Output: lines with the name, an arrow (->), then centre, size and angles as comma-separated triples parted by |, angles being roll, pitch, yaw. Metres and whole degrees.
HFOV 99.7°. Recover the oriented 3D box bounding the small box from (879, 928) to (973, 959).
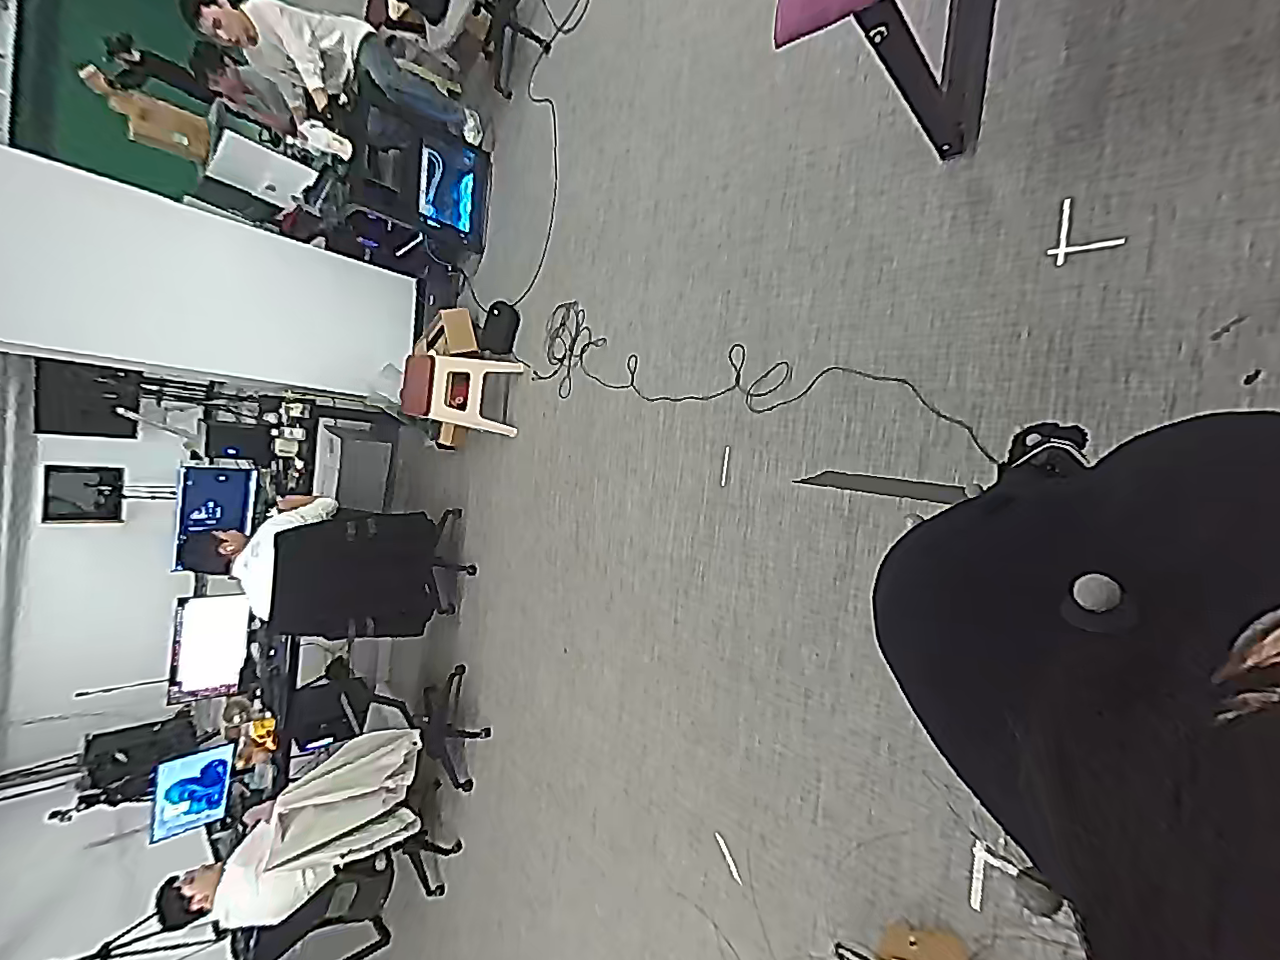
small box -> 0.712, 1.229, 1.304 | 0.168, 0.176, 0.179 | -29, 67, 40
